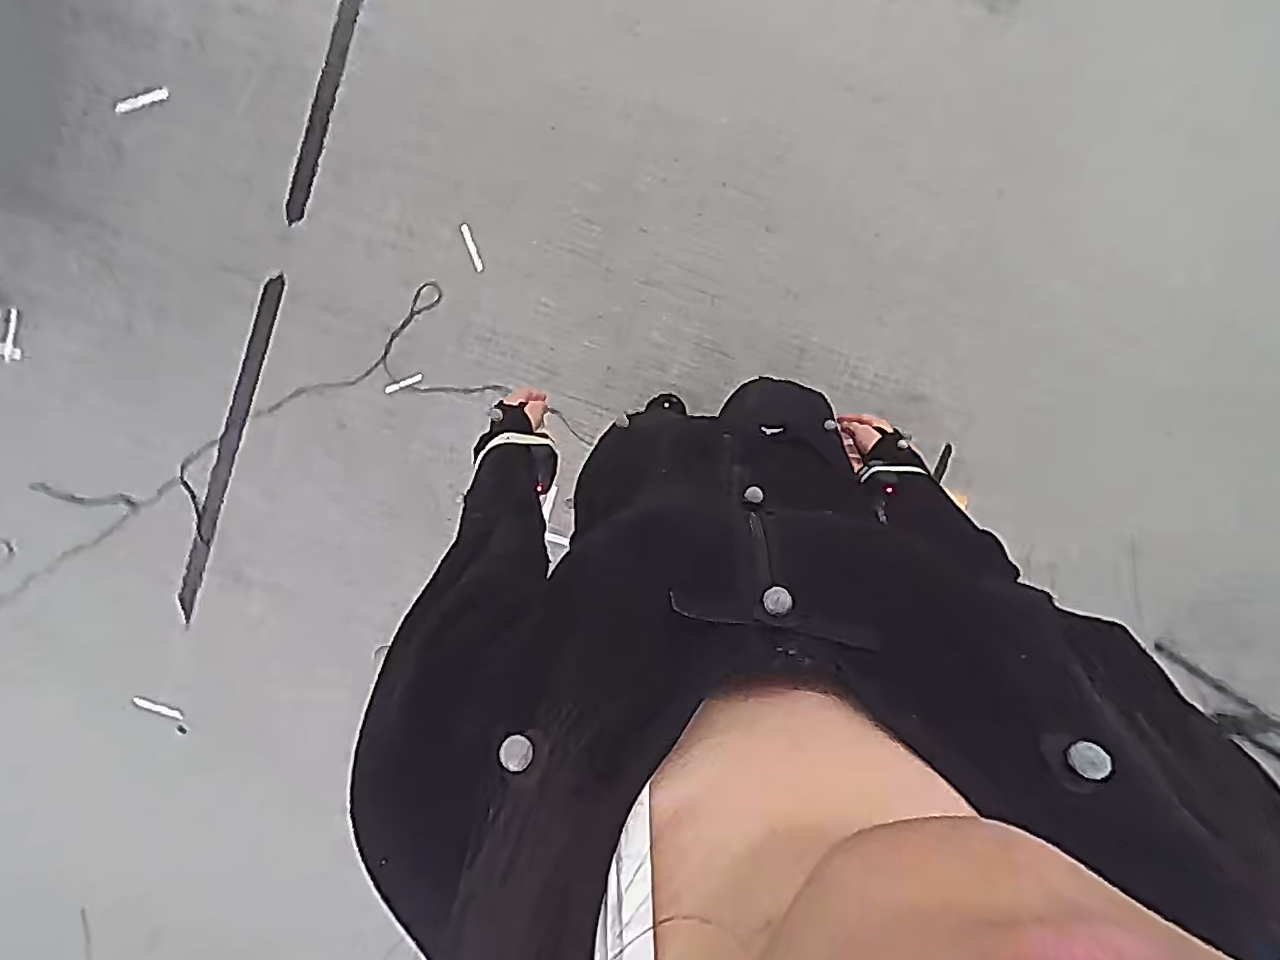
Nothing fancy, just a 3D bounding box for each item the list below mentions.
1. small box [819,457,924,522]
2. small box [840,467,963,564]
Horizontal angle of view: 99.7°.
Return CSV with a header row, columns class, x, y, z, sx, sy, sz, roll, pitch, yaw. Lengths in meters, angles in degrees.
class,x,y,z,sx,sy,sz,roll,pitch,yaw
small box,0.600,0.041,1.429,0.179,0.176,0.168,16,100,-4
small box,0.600,0.074,1.267,0.179,0.176,0.168,17,99,-4
